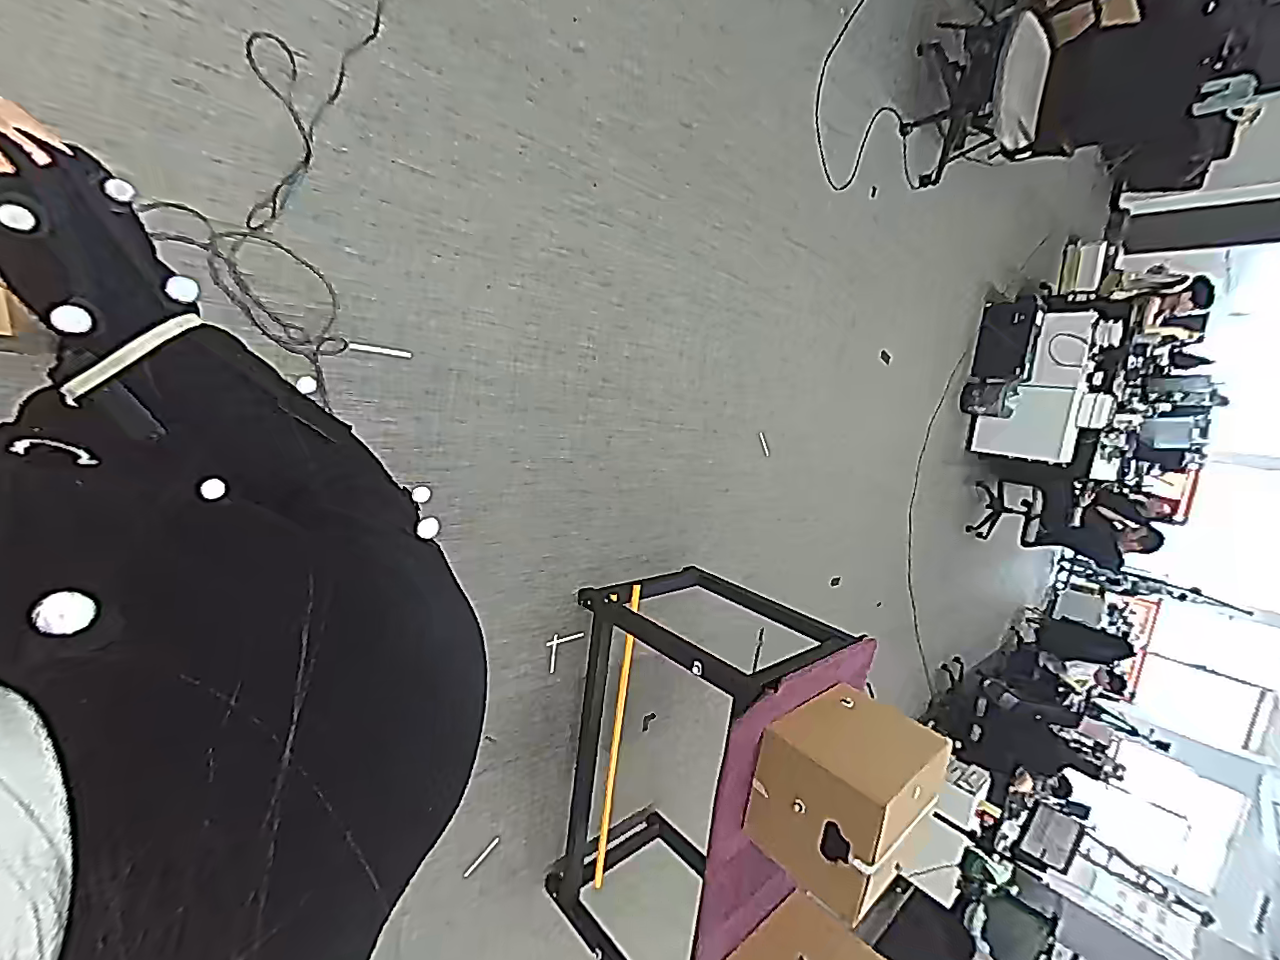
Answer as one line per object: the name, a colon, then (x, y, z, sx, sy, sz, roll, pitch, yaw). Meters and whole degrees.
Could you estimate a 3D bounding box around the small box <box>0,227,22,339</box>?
small box: (-1.019, -0.297, 0.764, 0.168, 0.176, 0.179, -6, 106, -41)

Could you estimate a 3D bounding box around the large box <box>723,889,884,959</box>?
large box: (0.427, 1.471, 1.496, 0.408, 0.320, 0.320, -2, 103, -45)
